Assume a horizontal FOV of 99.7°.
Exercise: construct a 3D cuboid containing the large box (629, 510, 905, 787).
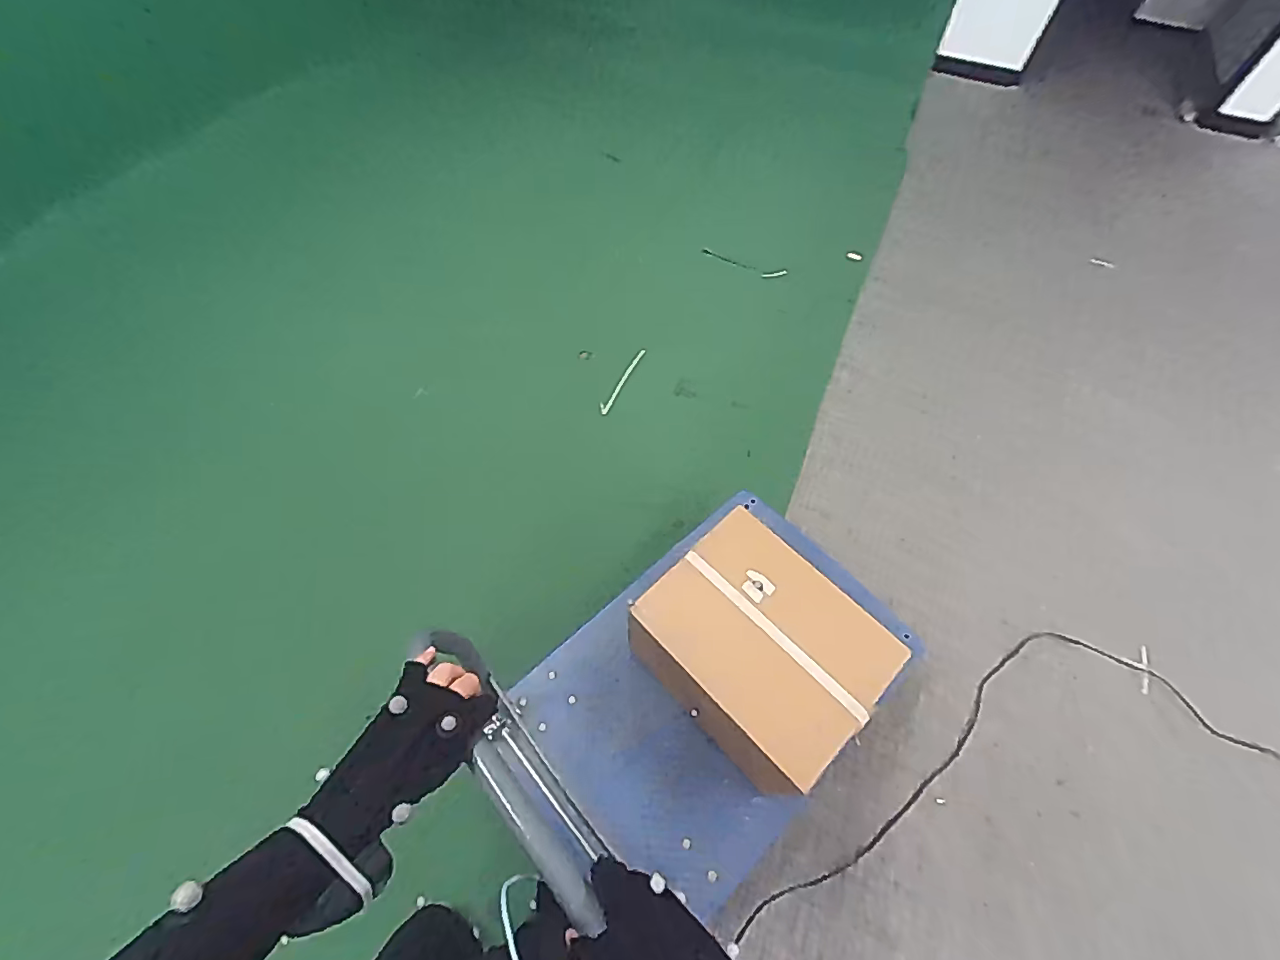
[{"bbox_3d":[0.226,0.345,1.099,0.320,0.320,0.408,-39,67,-21],"label":"large box"}]
